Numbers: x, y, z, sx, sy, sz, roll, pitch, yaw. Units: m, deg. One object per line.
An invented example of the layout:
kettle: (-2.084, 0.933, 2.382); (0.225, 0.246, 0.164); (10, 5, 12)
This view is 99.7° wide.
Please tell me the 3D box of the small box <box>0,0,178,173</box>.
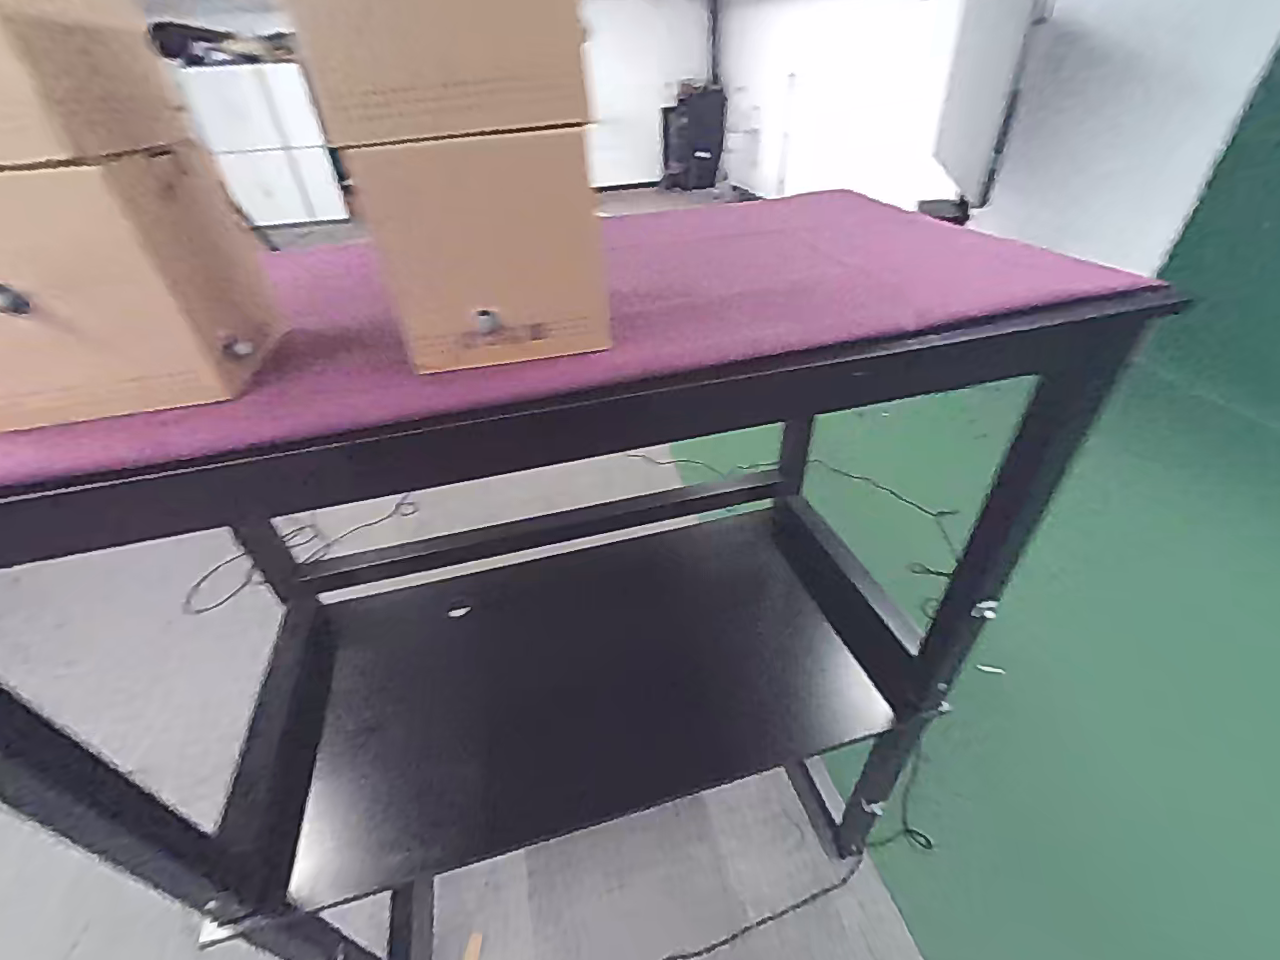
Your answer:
small box: (-0.446, -0.290, 0.339); (0.168, 0.176, 0.179); (-11, 37, -10)

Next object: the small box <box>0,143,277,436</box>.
small box: (-0.430, -0.155, 0.429); (0.179, 0.176, 0.168); (-12, 37, -10)

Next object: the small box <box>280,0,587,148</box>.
small box: (-0.144, -0.340, 0.379); (0.179, 0.176, 0.168); (-11, 37, -8)

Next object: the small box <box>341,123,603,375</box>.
small box: (-0.132, -0.211, 0.481); (0.168, 0.176, 0.179); (-11, 38, -8)
